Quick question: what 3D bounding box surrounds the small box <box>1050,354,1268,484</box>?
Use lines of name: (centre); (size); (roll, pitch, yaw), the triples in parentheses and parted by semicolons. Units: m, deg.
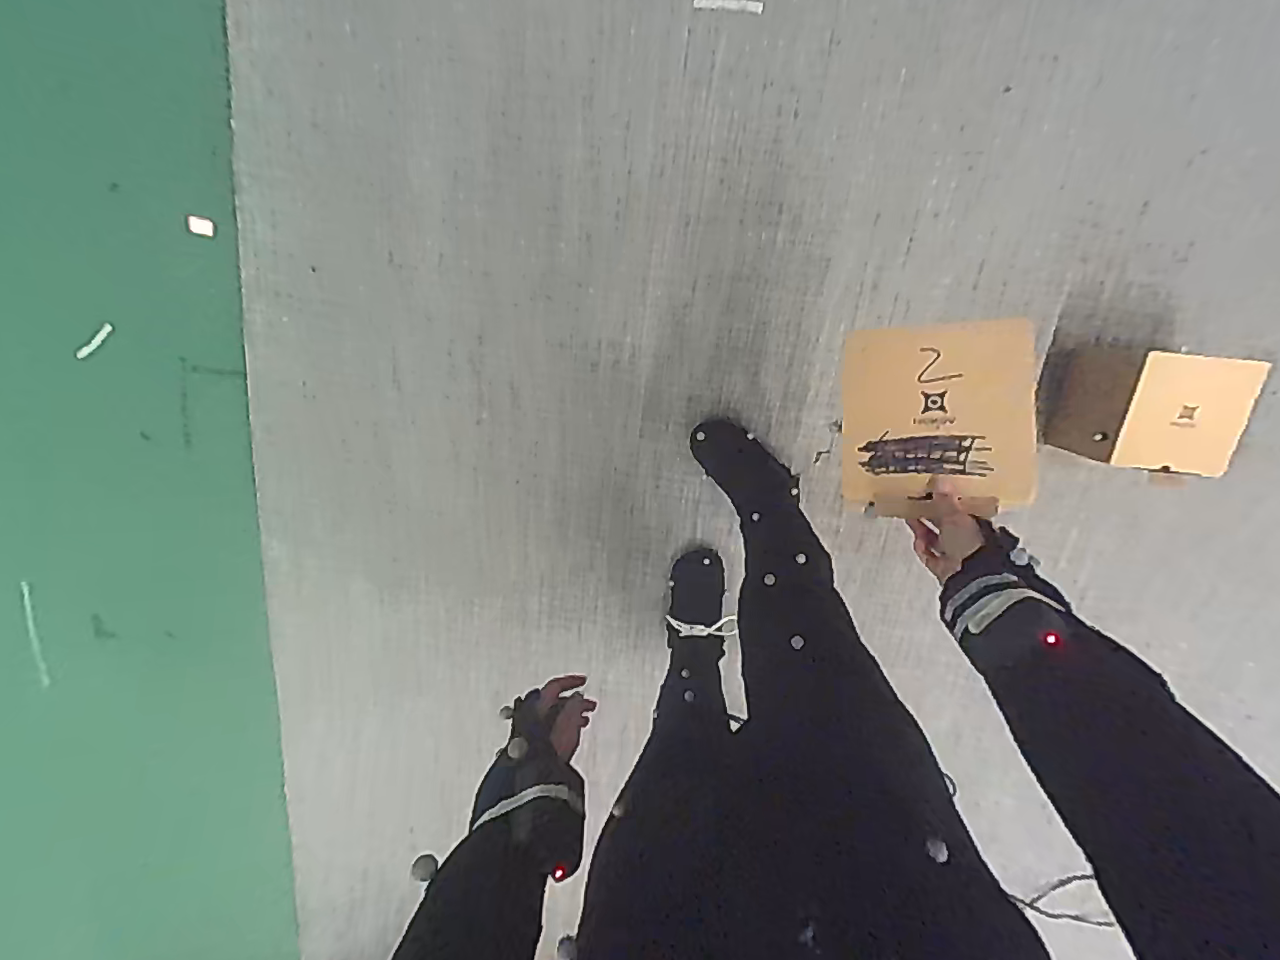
small box: (0.815, -0.107, 0.875); (0.168, 0.176, 0.179); (7, 107, 4)
